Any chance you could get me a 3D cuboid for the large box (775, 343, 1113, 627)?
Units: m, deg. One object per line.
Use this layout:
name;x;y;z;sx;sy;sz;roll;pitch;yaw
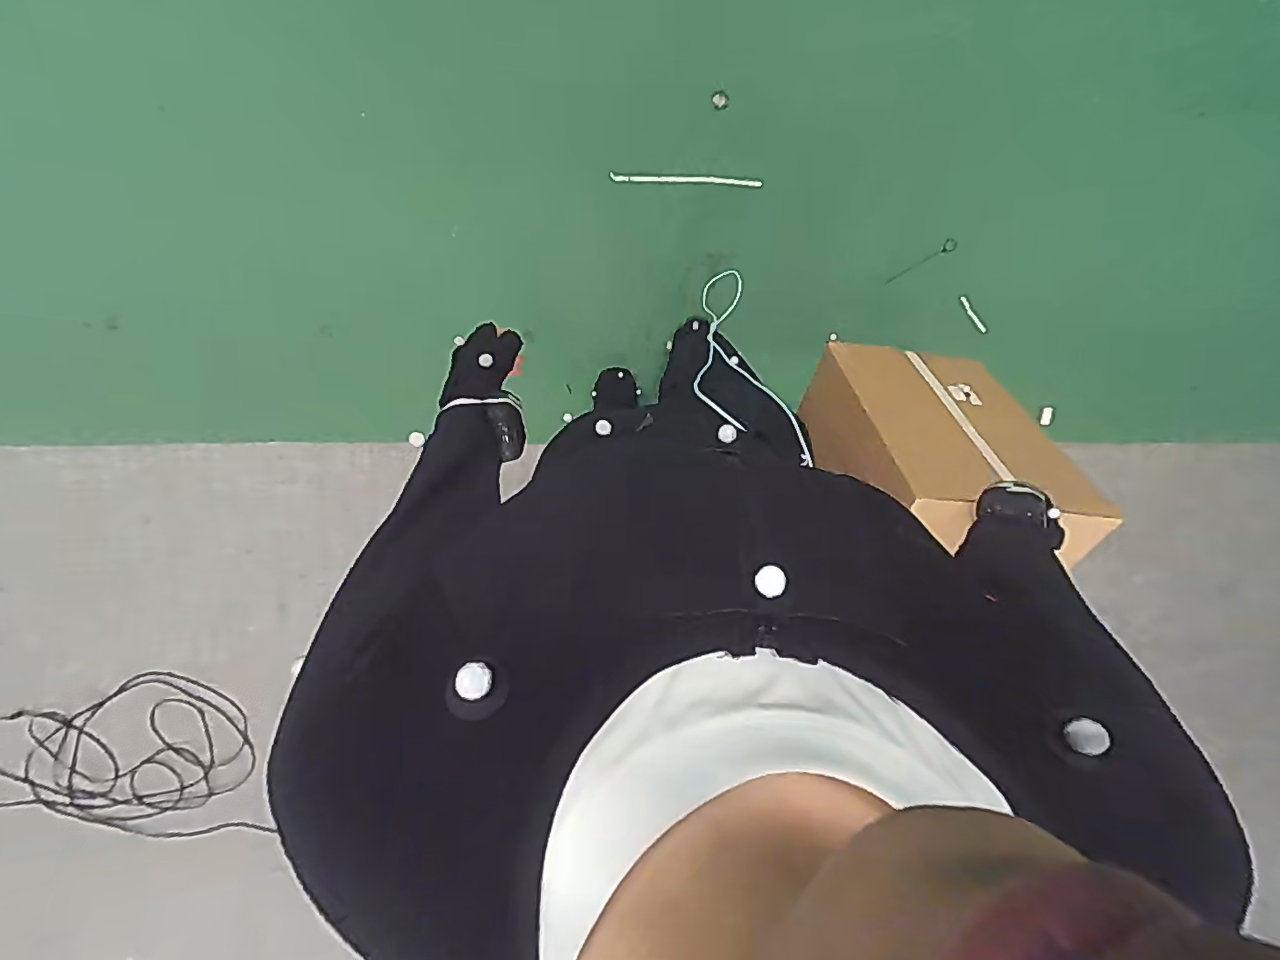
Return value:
large box;0.472;0.007;0.964;0.320;0.408;0.320;7;132;-9
